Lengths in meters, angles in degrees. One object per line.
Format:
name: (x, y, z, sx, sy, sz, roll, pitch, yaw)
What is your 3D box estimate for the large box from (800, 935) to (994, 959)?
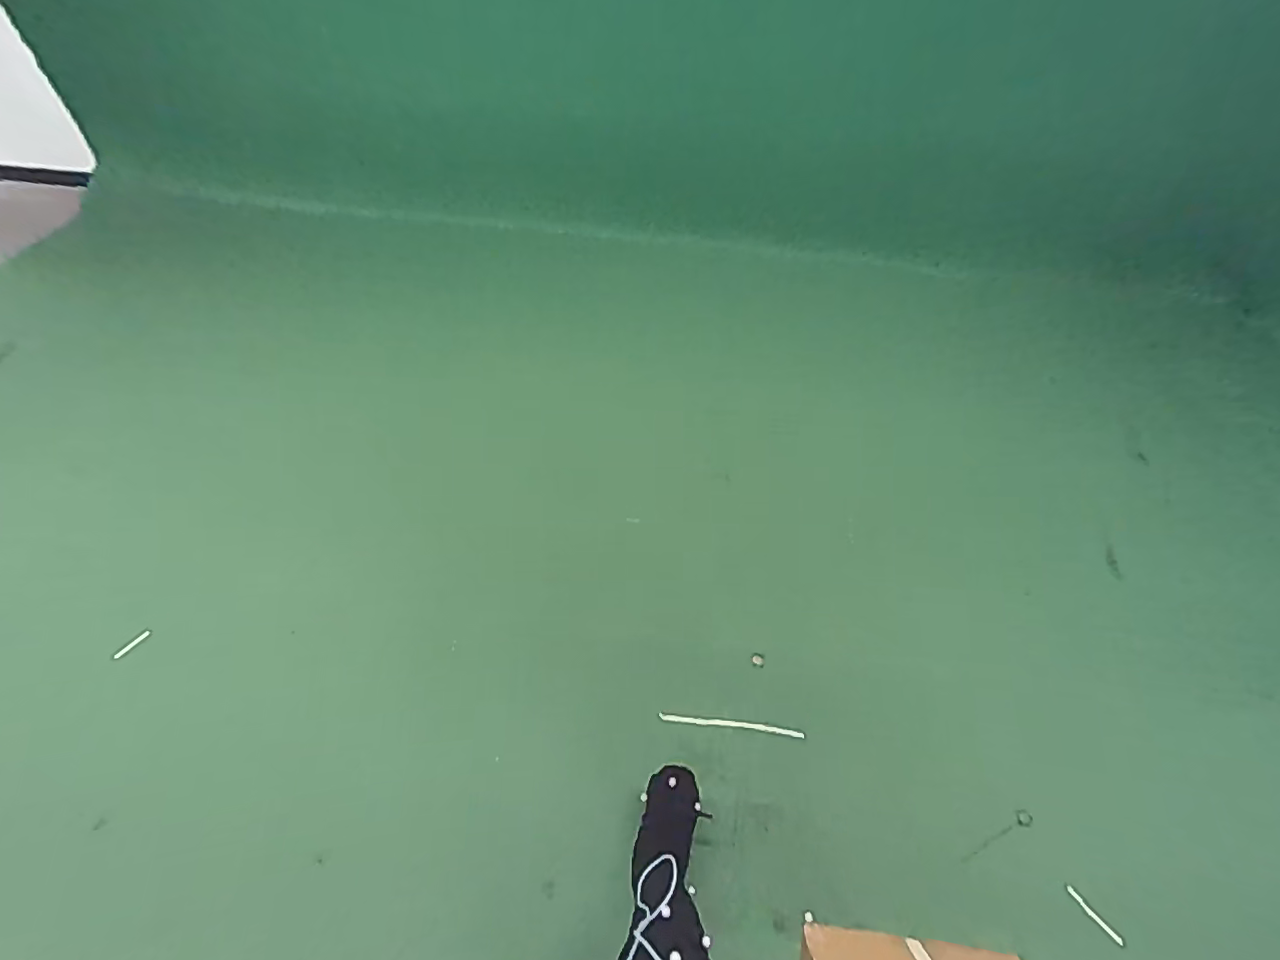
large box: (0.369, 0.821, 0.587, 0.320, 0.408, 0.320, 7, 85, 3)
